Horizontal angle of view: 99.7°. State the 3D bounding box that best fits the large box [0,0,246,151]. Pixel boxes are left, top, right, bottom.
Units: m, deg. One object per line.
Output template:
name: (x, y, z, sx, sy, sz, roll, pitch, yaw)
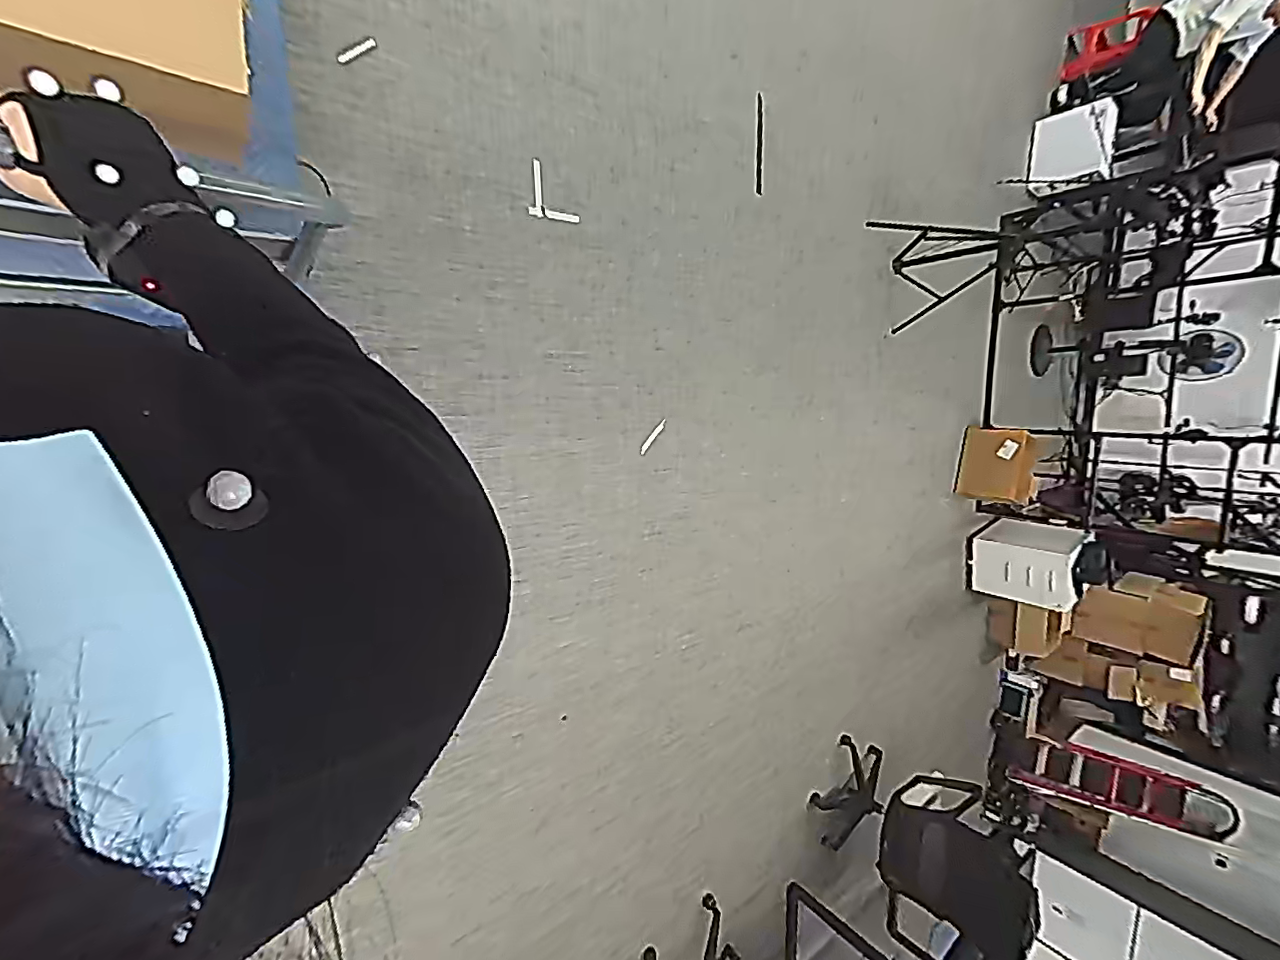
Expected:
large box: (-0.821, -0.728, 0.762, 0.408, 0.320, 0.320, -5, 99, -37)
